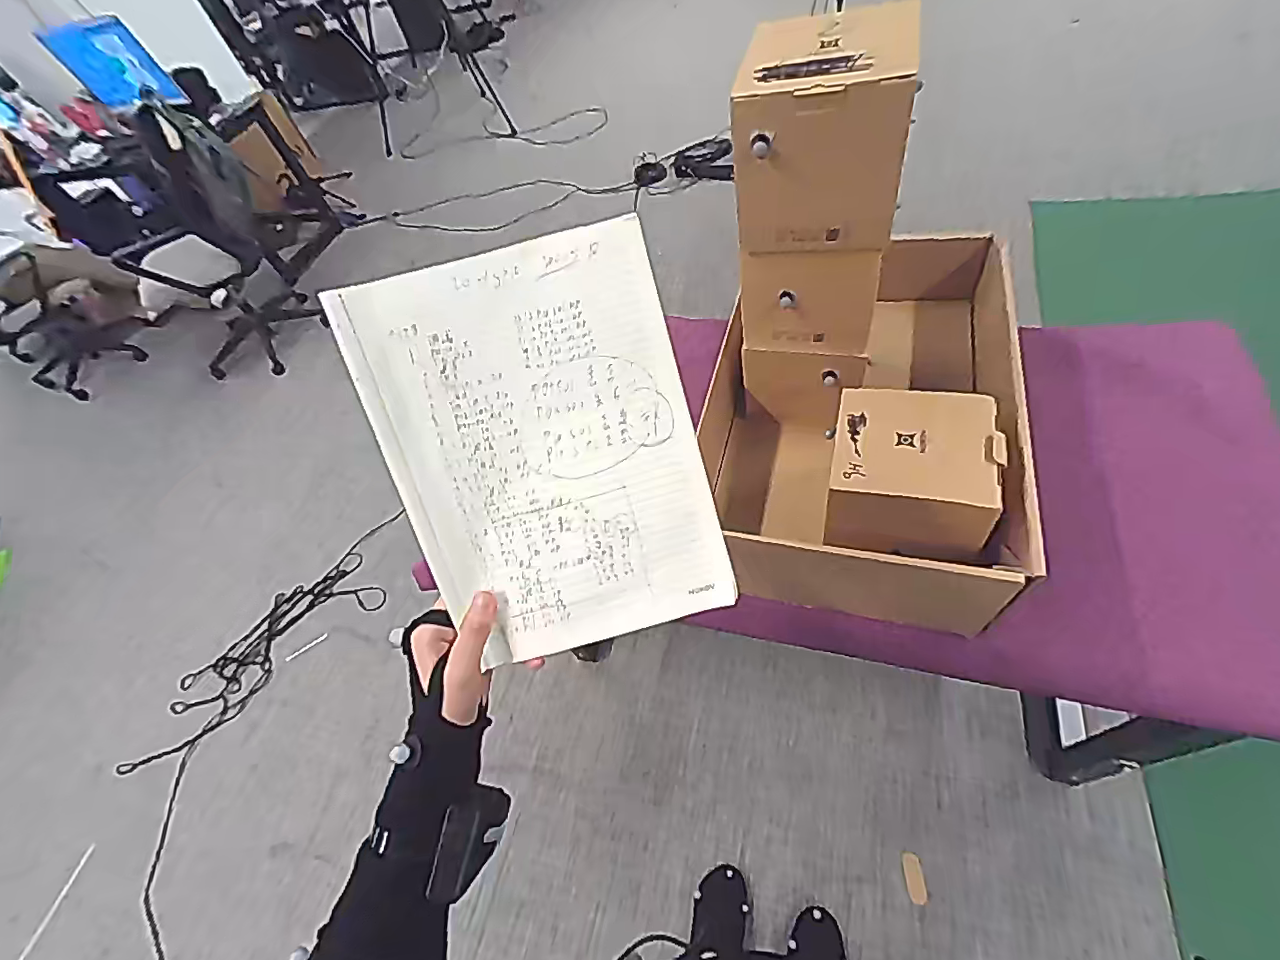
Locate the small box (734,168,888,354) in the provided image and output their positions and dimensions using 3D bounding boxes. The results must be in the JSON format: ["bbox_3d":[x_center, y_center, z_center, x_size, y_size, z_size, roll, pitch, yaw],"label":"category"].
[{"bbox_3d":[0.233,-0.292,0.740,0.168,0.176,0.179,8,58,20],"label":"small box"}]
